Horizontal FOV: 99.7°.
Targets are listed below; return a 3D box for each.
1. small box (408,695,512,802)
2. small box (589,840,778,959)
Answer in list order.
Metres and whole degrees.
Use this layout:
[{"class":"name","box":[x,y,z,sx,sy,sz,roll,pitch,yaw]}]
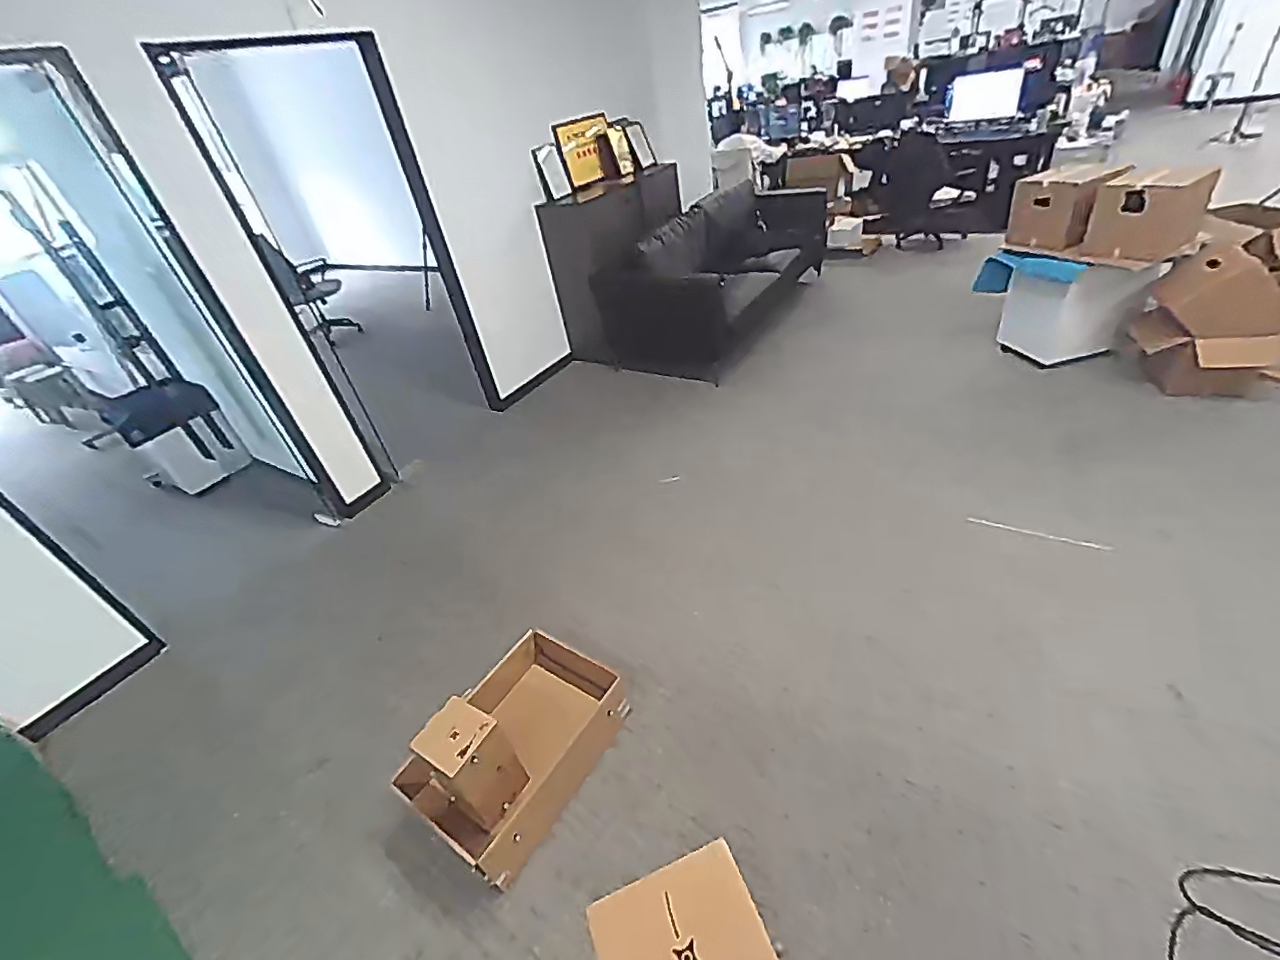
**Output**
[{"class":"small box","box":[-0.479,0.724,1.455,0.179,0.176,0.168,14,44,30]},{"class":"small box","box":[0.061,0.530,0.567,0.168,0.176,0.179,-19,39,-11]}]
